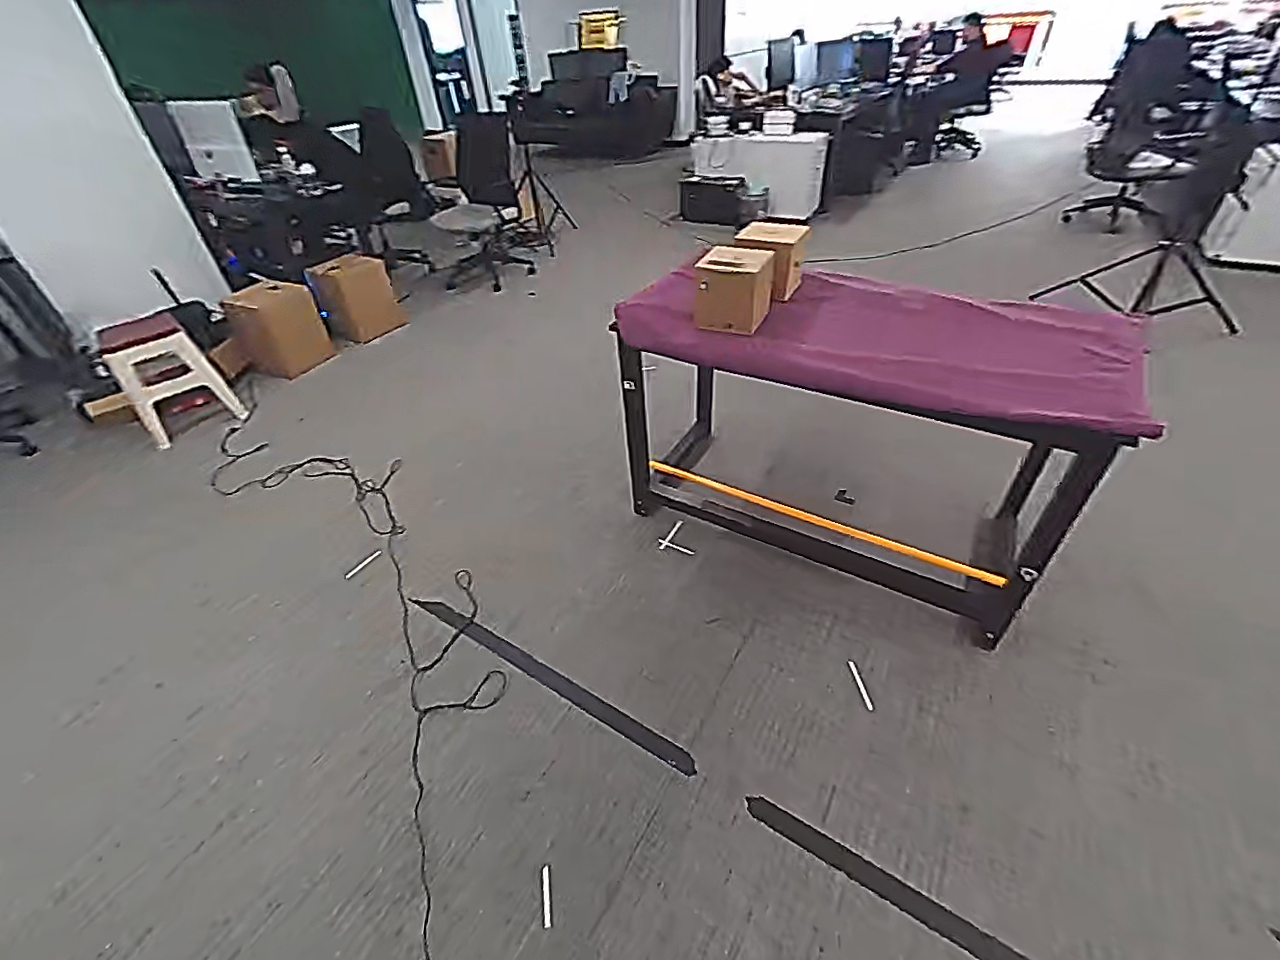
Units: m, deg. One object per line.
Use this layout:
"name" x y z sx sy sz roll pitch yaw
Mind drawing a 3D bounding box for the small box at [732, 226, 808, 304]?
"small box" 0.386 -0.642 1.618 0.179 0.176 0.168 17 44 23
